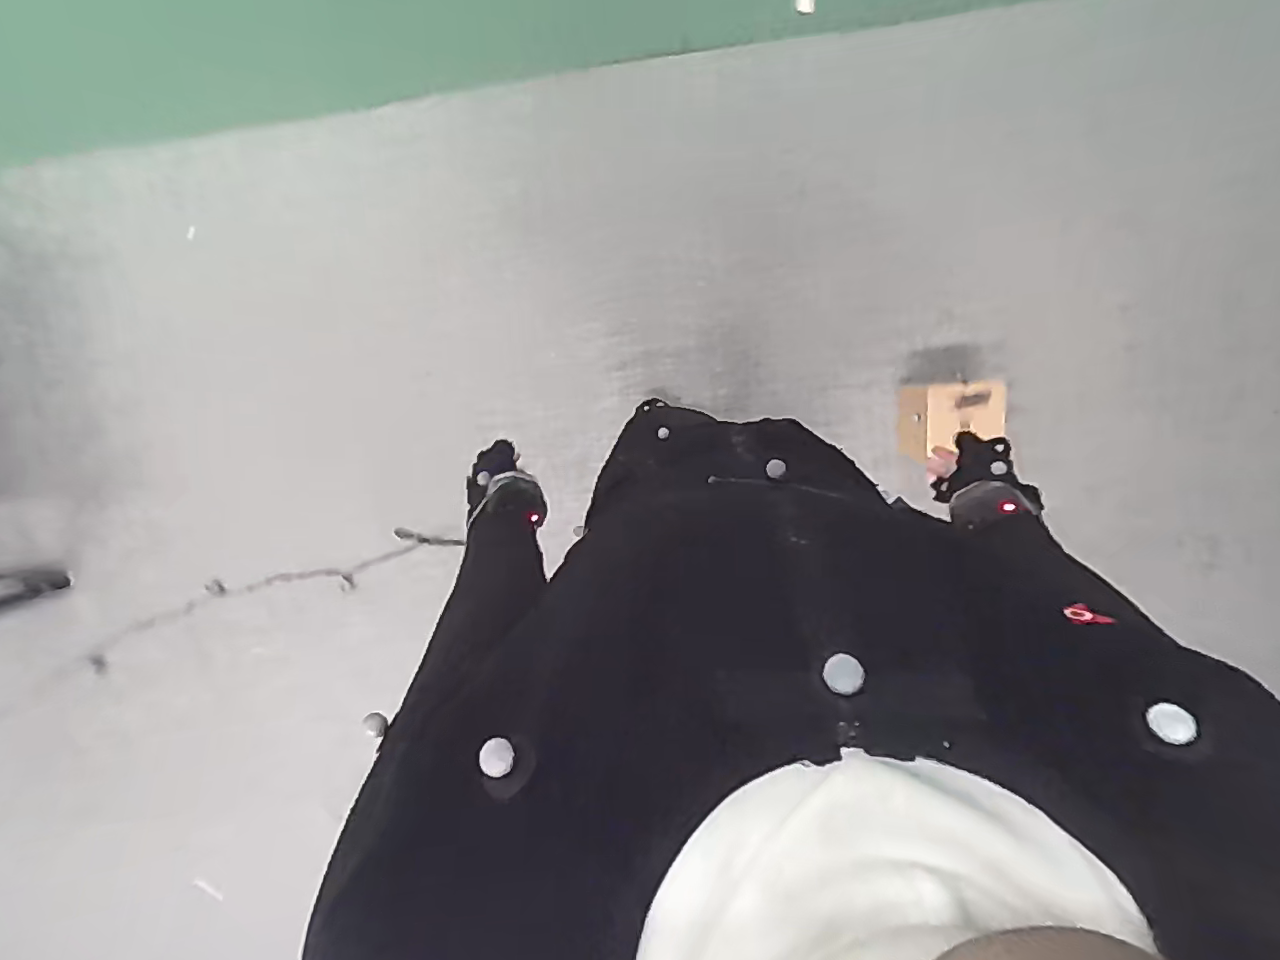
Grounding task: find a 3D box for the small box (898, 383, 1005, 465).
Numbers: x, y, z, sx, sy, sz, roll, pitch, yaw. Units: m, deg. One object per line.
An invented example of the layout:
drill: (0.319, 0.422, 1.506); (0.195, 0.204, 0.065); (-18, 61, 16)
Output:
small box: (0.722, -0.135, 1.273); (0.168, 0.176, 0.179); (-2, 100, 6)
